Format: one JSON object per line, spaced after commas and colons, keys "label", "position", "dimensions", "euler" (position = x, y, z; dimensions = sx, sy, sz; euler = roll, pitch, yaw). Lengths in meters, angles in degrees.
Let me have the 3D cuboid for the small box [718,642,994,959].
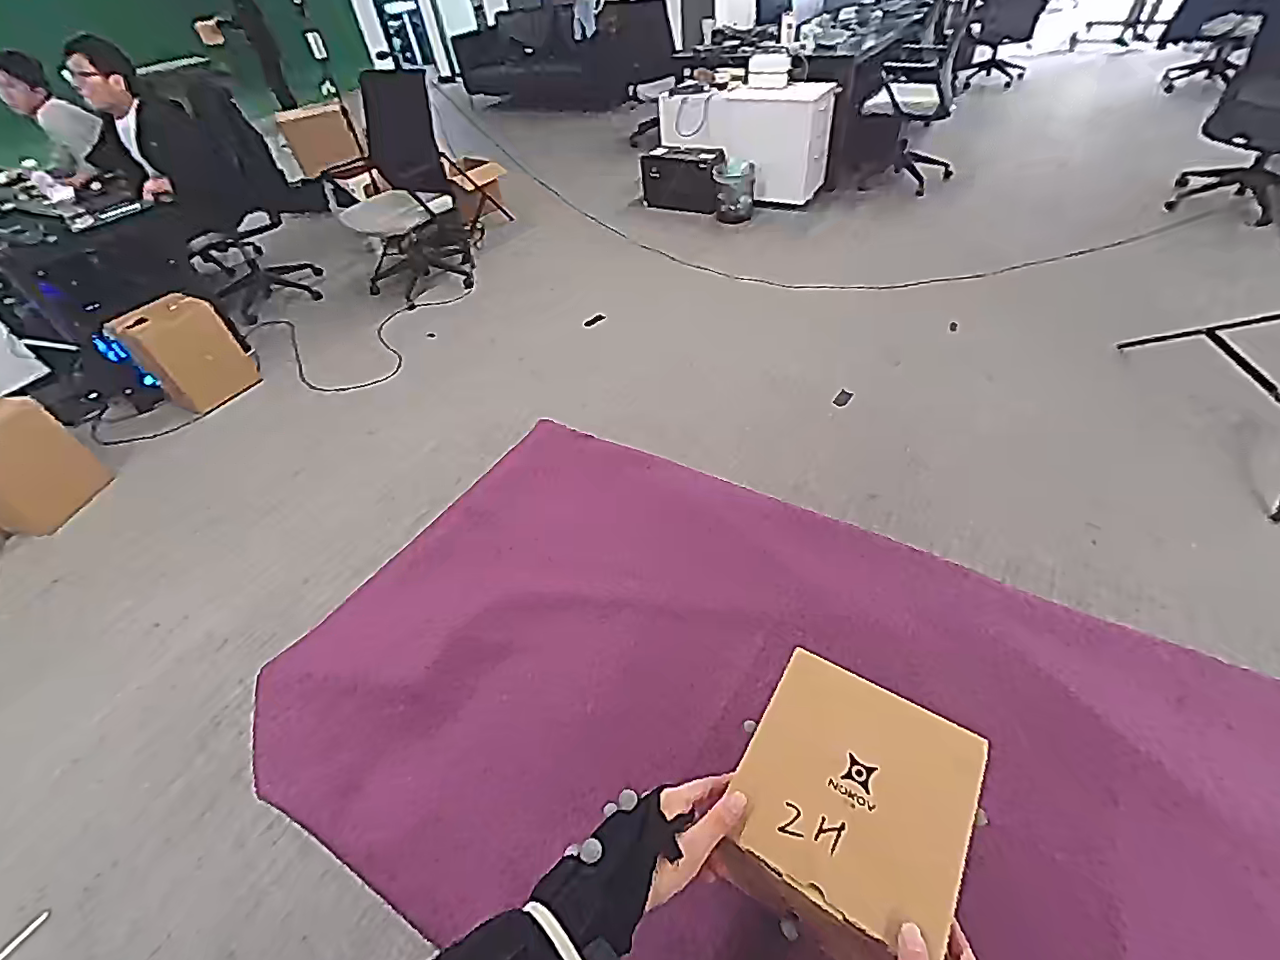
{"label": "small box", "position": [0.178, 0.286, 0.478], "dimensions": [0.168, 0.176, 0.179], "euler": [22, 53, 27]}
